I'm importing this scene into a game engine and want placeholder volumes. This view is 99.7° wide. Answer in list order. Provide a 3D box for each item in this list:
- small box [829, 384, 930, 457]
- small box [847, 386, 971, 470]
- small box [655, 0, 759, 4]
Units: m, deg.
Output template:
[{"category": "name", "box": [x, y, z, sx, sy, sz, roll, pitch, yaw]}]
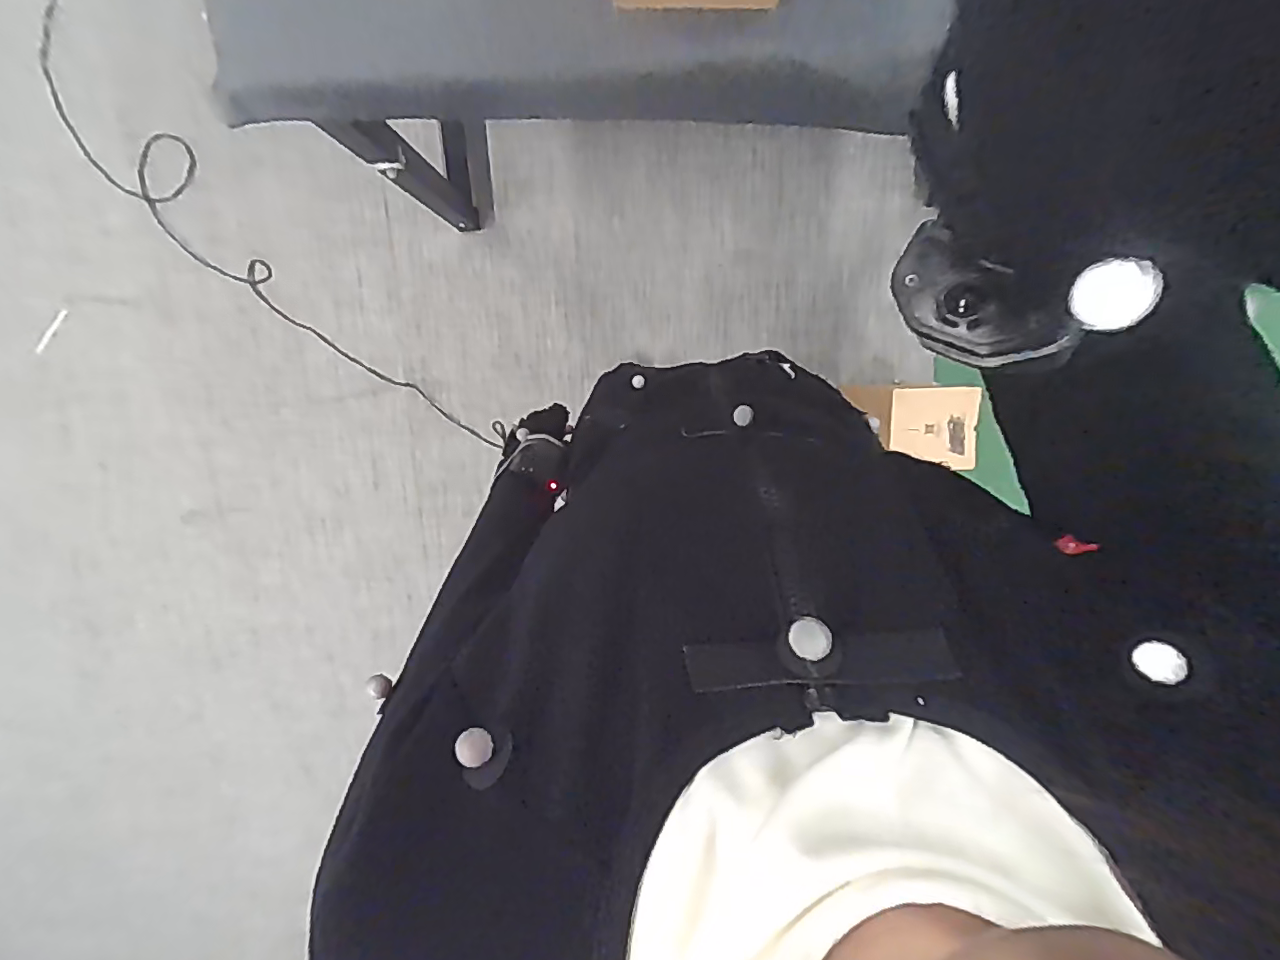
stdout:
[{"category": "small box", "box": [0.578, -0.149, 1.322, 0.179, 0.176, 0.168, -2, 100, 2]}, {"category": "small box", "box": [0.567, -0.116, 1.160, 0.179, 0.176, 0.168, 0, 100, 1]}, {"category": "small box", "box": [0.060, -0.577, 0.488, 0.179, 0.176, 0.168, 1, 101, 0]}]
